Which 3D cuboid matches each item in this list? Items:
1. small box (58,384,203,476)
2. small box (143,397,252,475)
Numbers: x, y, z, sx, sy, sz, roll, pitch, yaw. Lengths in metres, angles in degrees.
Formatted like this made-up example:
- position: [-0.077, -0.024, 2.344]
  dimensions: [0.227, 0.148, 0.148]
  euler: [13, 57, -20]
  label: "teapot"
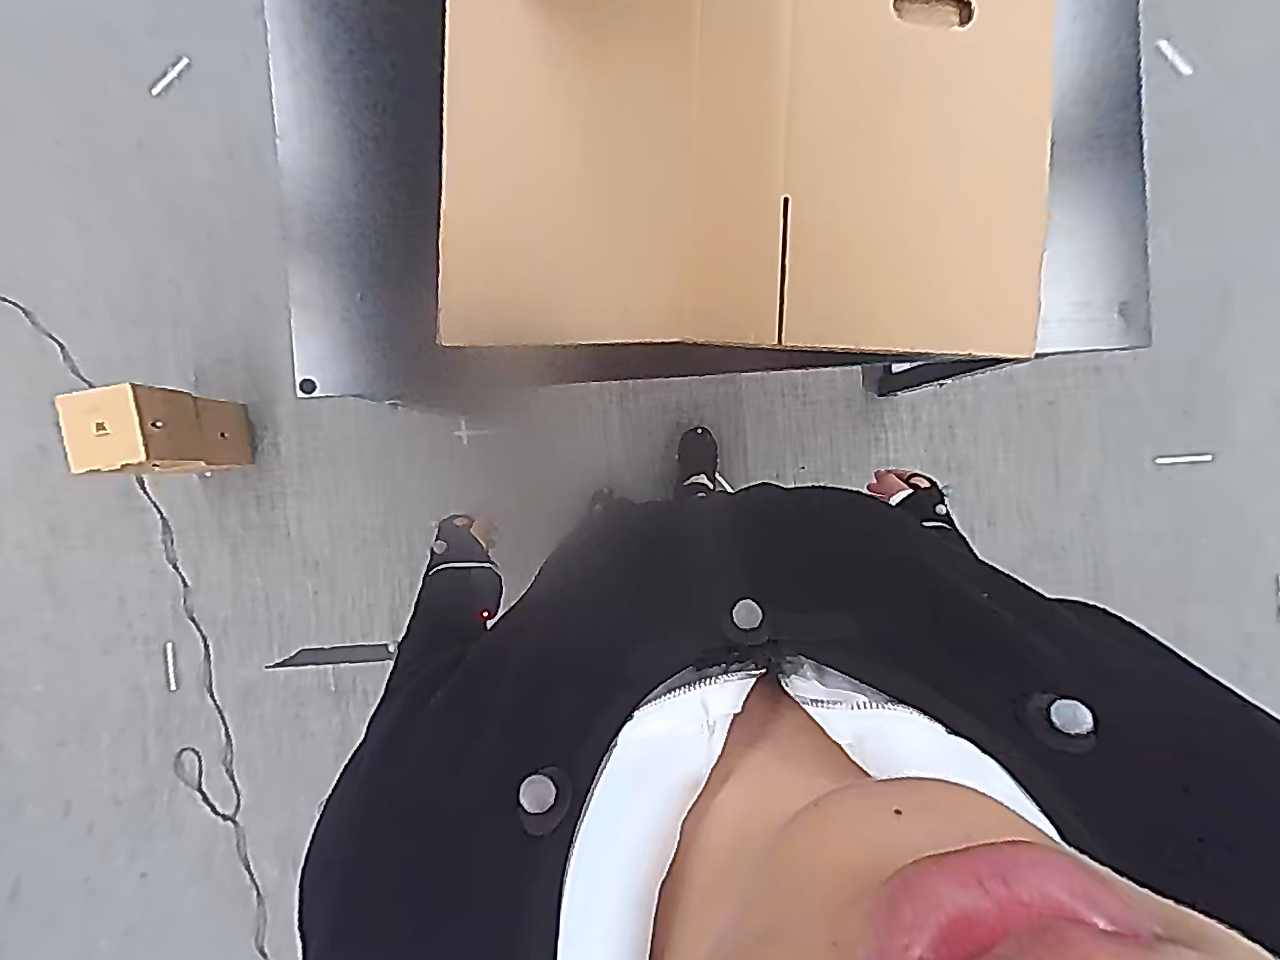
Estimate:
- position: [-1.156, -0.110, 1.243]
  dimensions: [0.168, 0.176, 0.179]
  euler: [-11, 91, -1]
  label: "small box"
- position: [-1.155, -0.109, 1.406]
  dimensions: [0.168, 0.176, 0.179]
  euler: [-8, 92, 0]
  label: "small box"
